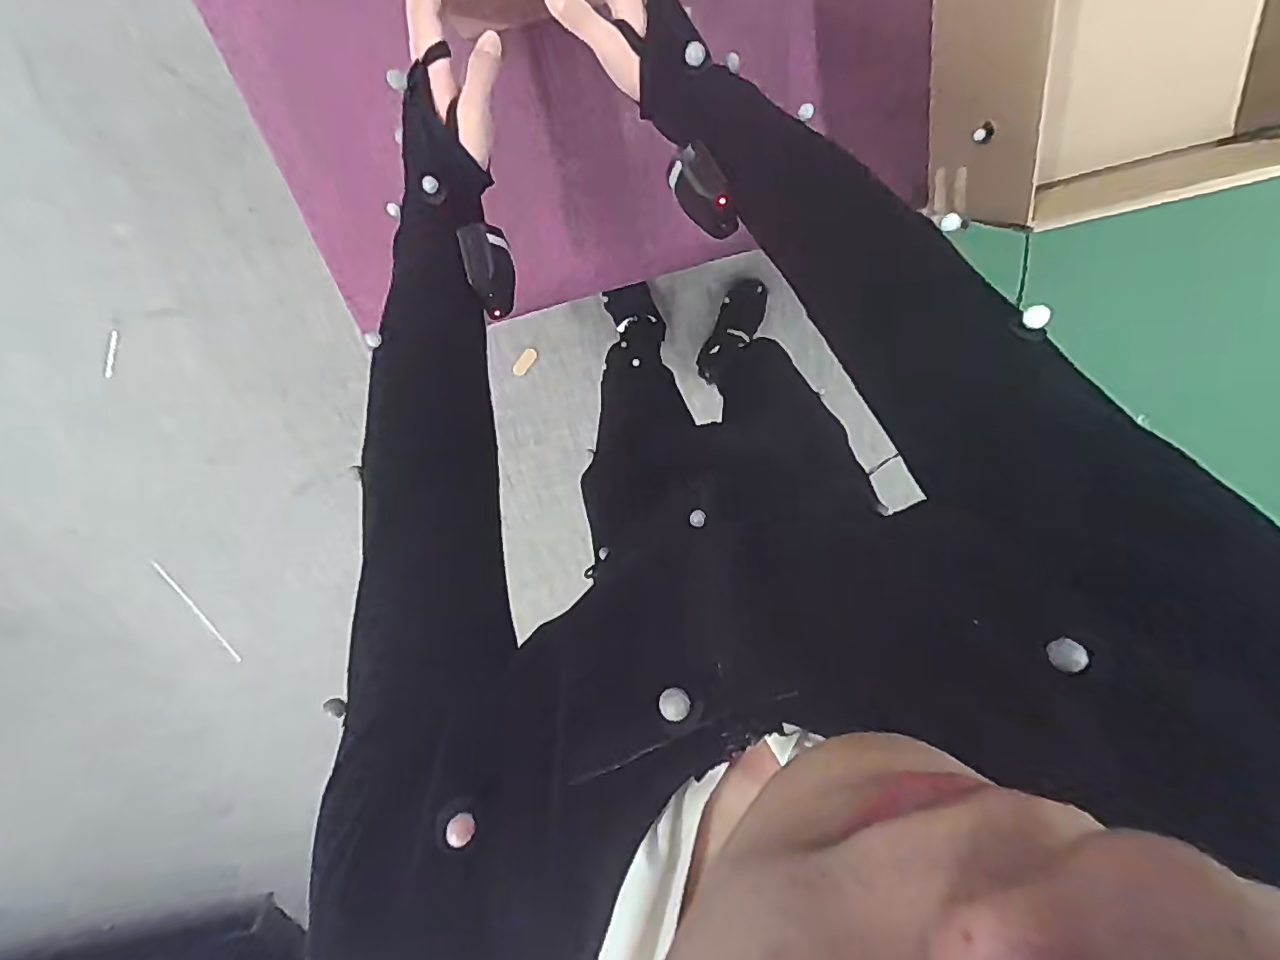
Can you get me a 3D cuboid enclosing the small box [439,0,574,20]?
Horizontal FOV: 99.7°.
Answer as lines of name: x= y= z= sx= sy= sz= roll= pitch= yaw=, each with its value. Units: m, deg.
small box: x=-0.123 y=-0.530 z=0.463 sx=0.168 sy=0.176 sz=0.179 roll=-13 pitch=120 yaw=1
